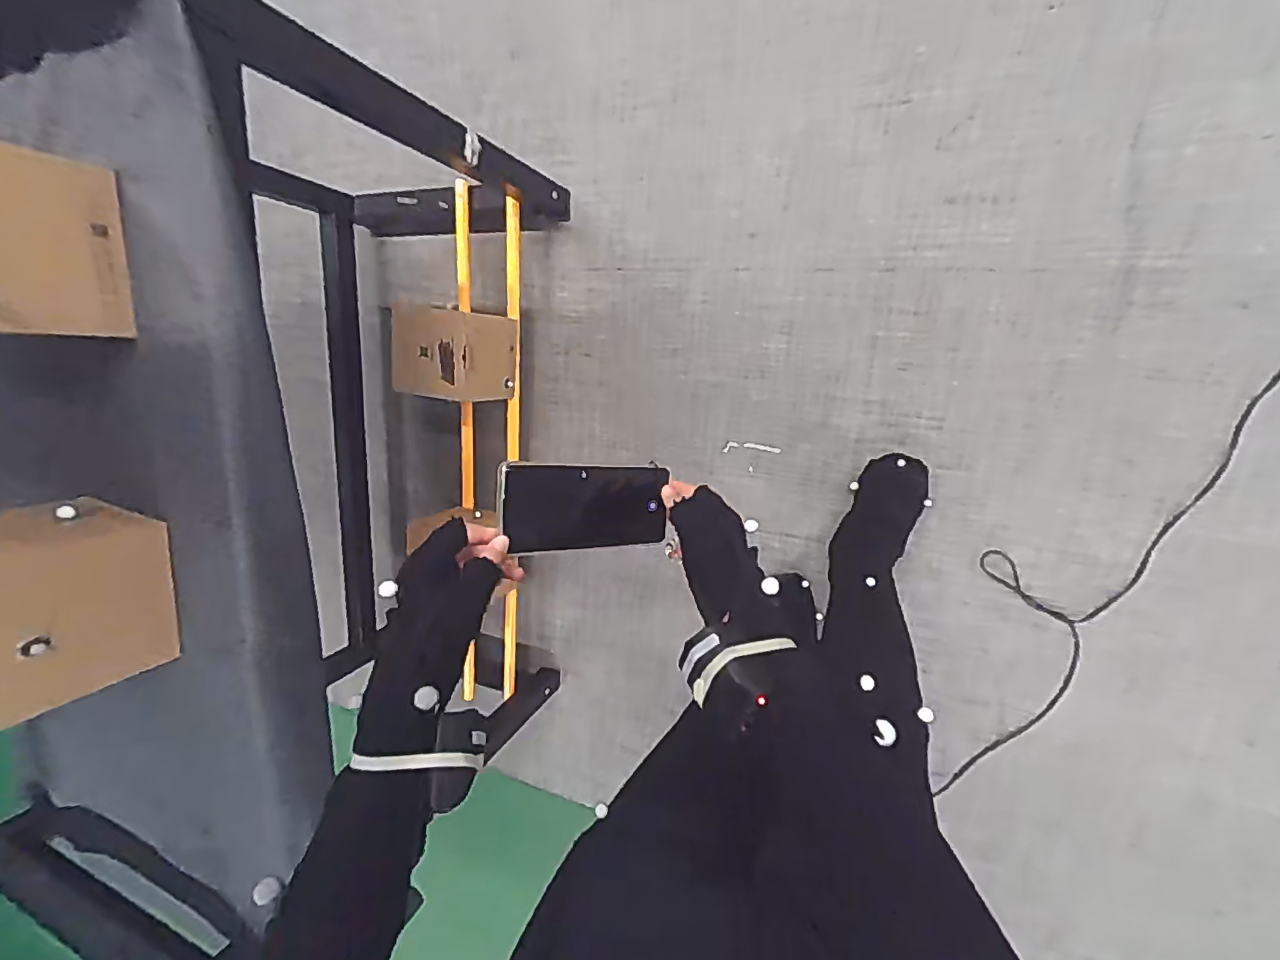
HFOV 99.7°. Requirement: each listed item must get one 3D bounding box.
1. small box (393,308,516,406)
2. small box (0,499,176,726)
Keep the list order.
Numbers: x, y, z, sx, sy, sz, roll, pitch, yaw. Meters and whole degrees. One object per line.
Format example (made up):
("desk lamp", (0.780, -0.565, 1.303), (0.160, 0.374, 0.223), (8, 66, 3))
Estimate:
("small box", (-0.369, -0.248, 1.093), (0.179, 0.176, 0.168), (11, 104, 20))
("small box", (-0.659, 0.134, 0.600), (0.168, 0.176, 0.179), (11, 104, 20))
